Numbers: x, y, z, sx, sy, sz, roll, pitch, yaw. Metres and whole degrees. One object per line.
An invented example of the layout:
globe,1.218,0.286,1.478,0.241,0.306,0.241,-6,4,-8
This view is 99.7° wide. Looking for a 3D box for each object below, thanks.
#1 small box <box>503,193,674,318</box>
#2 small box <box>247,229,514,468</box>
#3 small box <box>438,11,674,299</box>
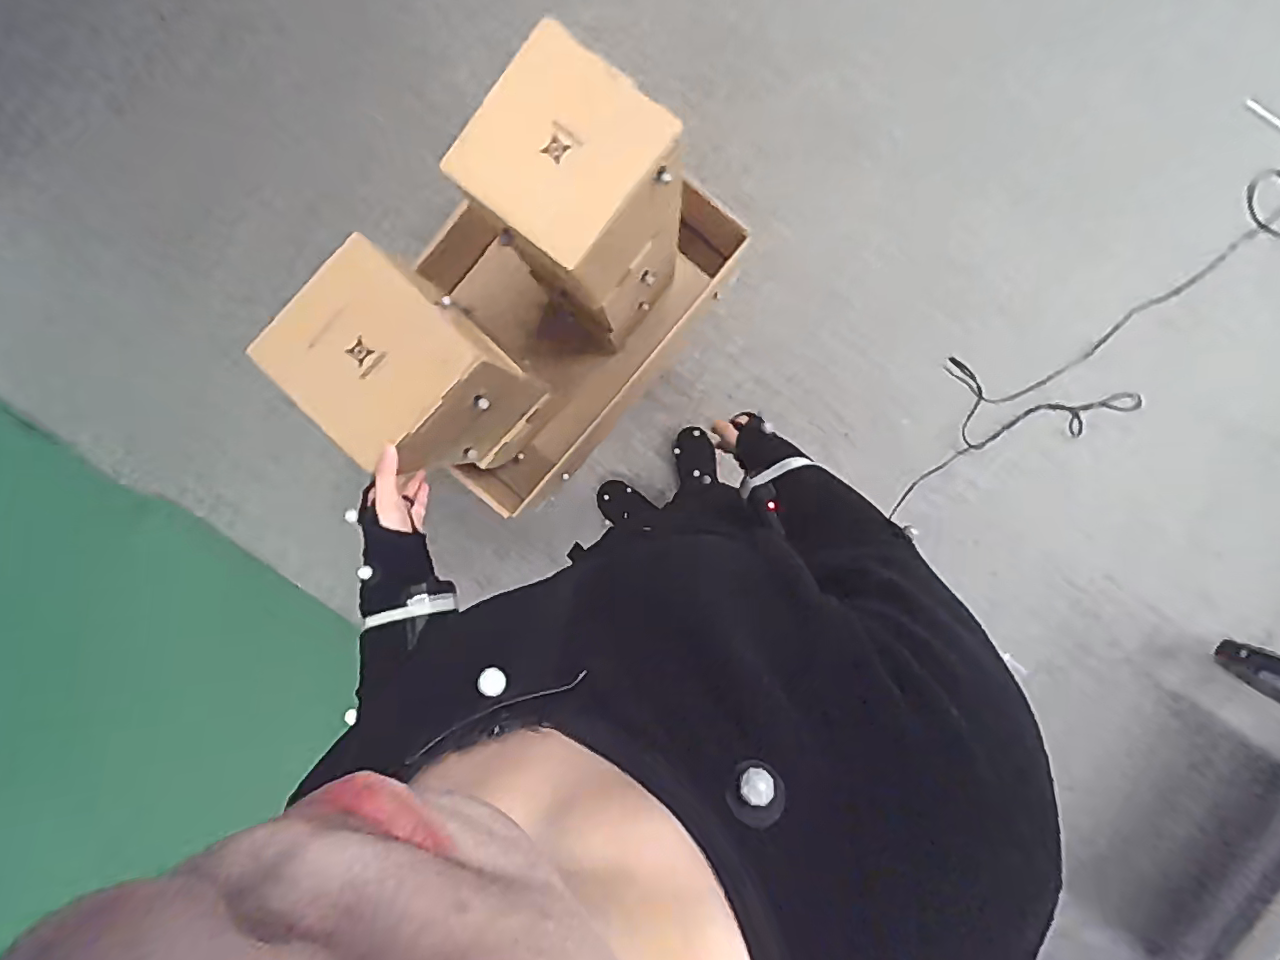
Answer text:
small box,-0.072,-0.348,0.755,0.179,0.176,0.168,38,95,-3
small box,-0.270,-0.135,0.611,0.179,0.176,0.168,45,94,-2
small box,-0.077,-0.329,0.593,0.168,0.176,0.179,38,95,-2
